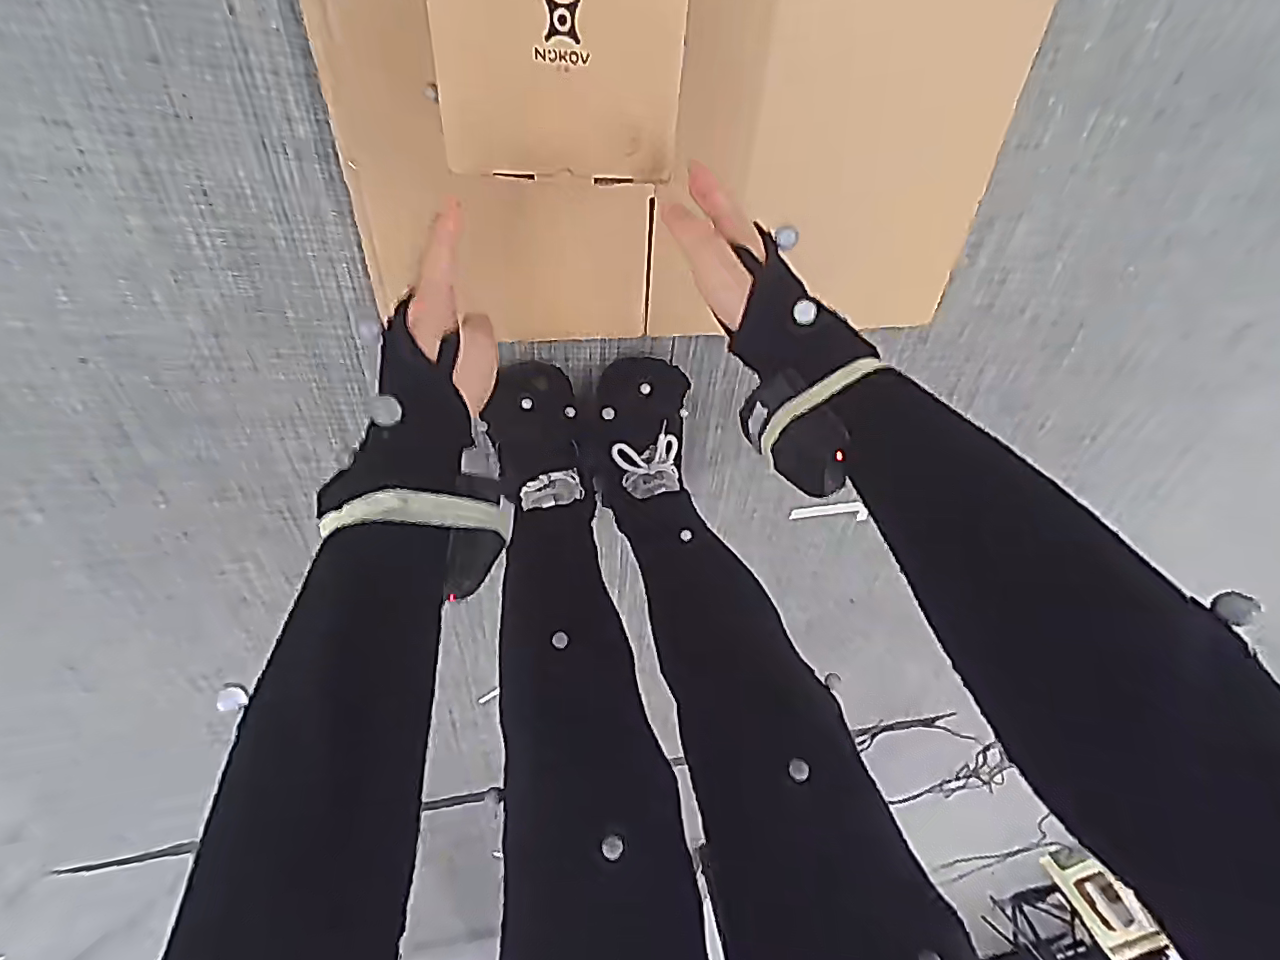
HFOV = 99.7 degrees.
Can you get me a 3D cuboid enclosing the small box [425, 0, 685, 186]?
[{"bbox_3d":[-0.069,-0.340,0.411,0.168,0.176,0.179,-5,128,-13],"label":"small box"}]
